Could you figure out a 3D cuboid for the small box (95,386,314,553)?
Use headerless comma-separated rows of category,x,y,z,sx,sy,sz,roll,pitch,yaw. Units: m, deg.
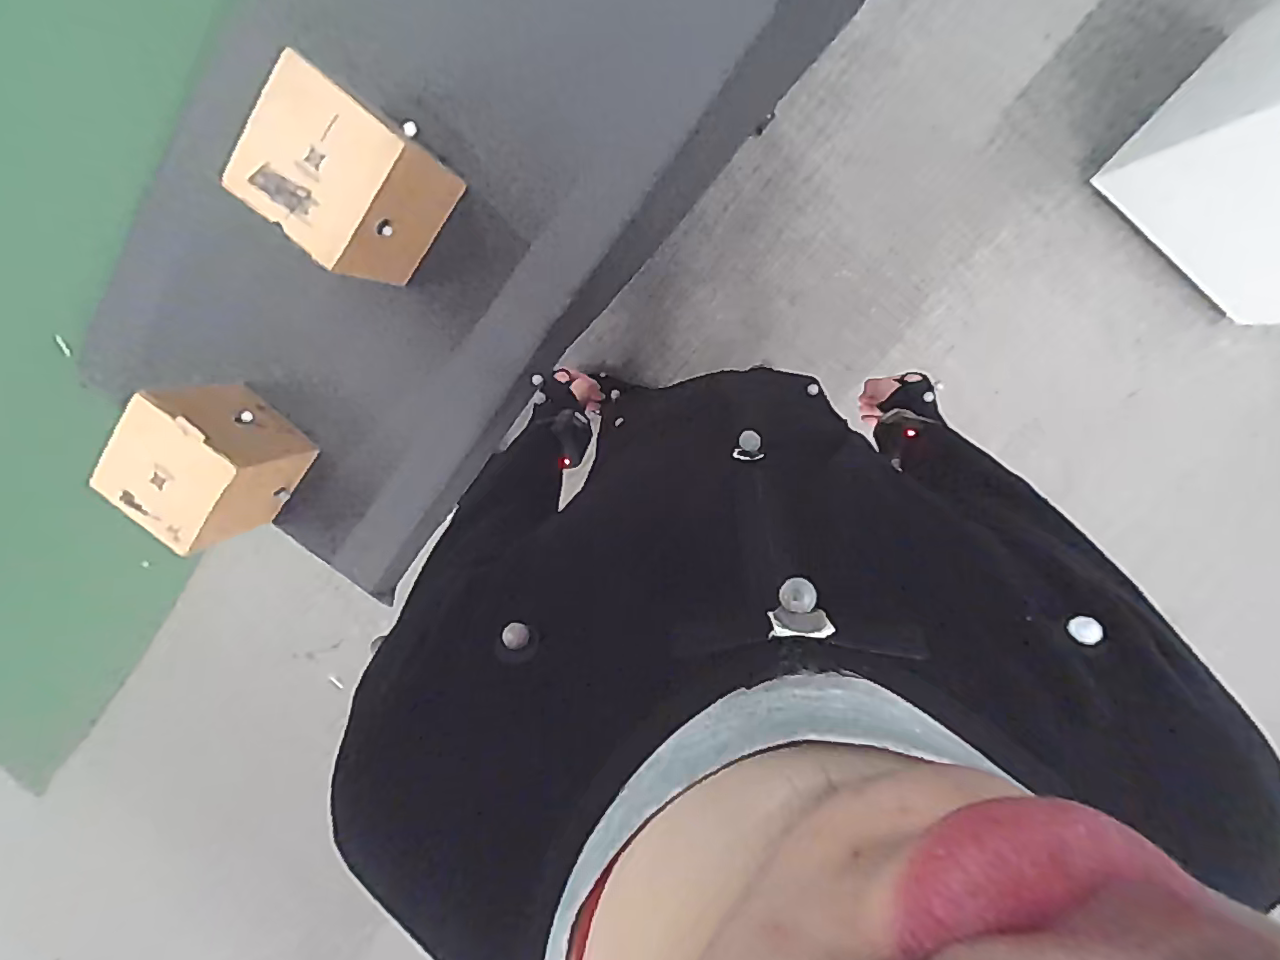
small box,-0.644,-0.028,0.825,0.168,0.176,0.179,41,105,-4

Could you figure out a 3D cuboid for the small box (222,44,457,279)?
small box,-0.369,-0.384,0.696,0.168,0.176,0.179,39,105,-4
